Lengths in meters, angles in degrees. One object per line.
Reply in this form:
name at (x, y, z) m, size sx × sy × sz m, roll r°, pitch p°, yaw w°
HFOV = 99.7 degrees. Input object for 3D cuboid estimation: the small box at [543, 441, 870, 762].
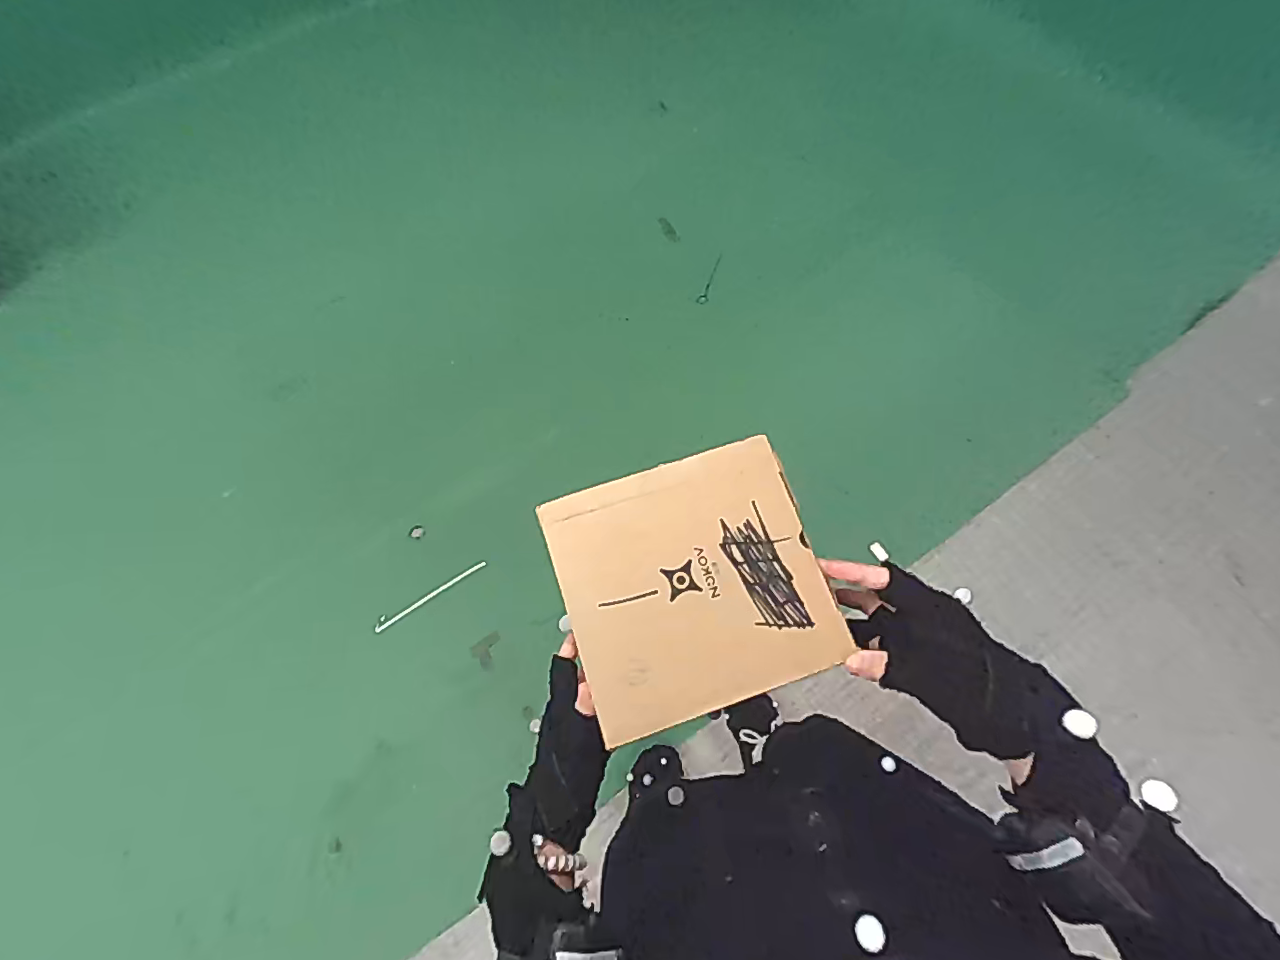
small box at (0.038, 0.092, 0.427) m, size 0.179 × 0.176 × 0.168 m, roll -18°, pitch 74°, yaw -6°
